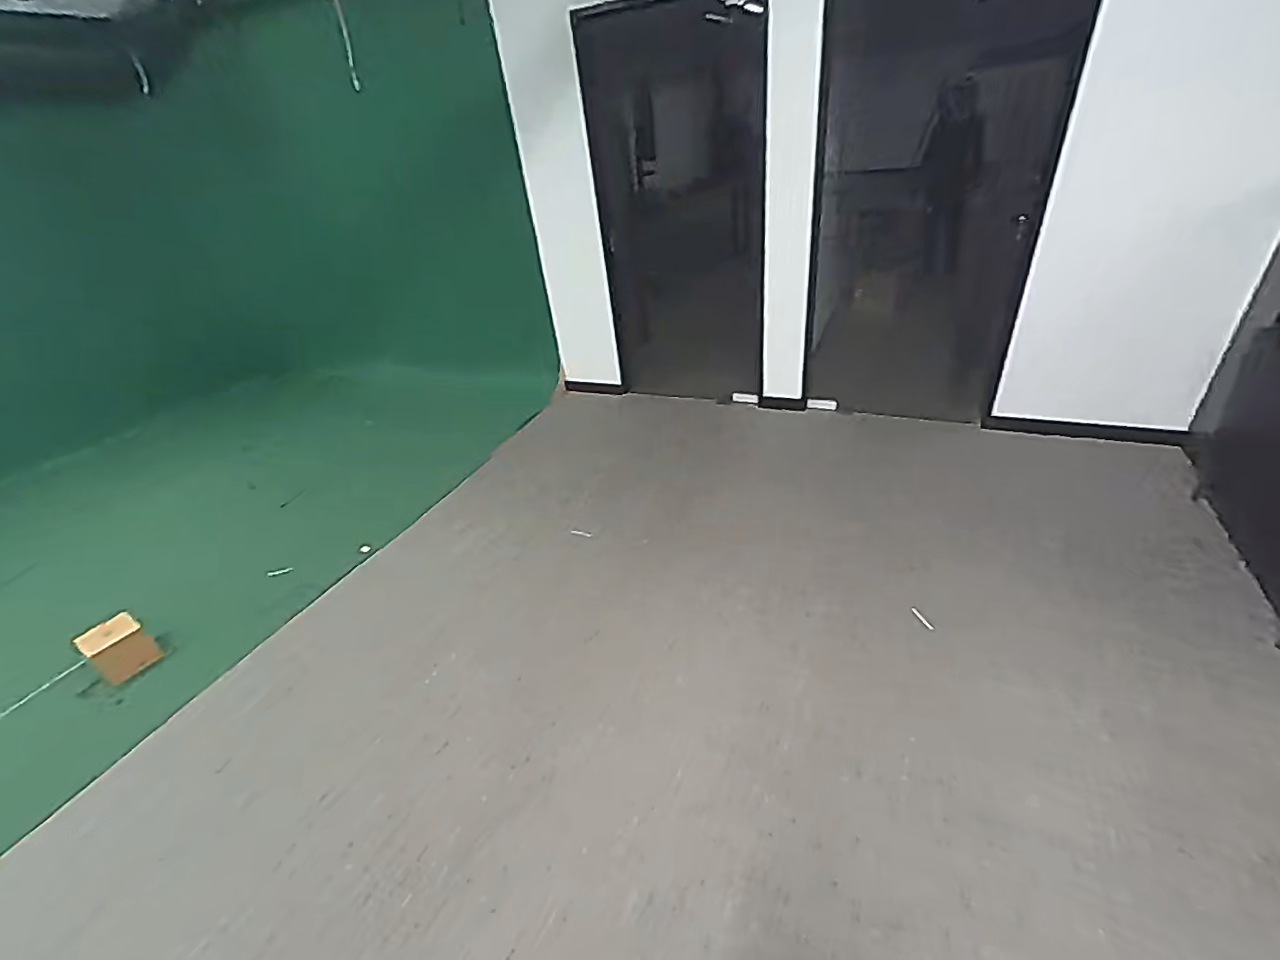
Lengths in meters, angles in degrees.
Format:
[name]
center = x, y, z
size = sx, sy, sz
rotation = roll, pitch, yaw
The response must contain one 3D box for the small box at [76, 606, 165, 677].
[small box]
center = -1.981, 0.621, 2.068
size = 0.179, 0.176, 0.168
rotation = 15, 39, 30
